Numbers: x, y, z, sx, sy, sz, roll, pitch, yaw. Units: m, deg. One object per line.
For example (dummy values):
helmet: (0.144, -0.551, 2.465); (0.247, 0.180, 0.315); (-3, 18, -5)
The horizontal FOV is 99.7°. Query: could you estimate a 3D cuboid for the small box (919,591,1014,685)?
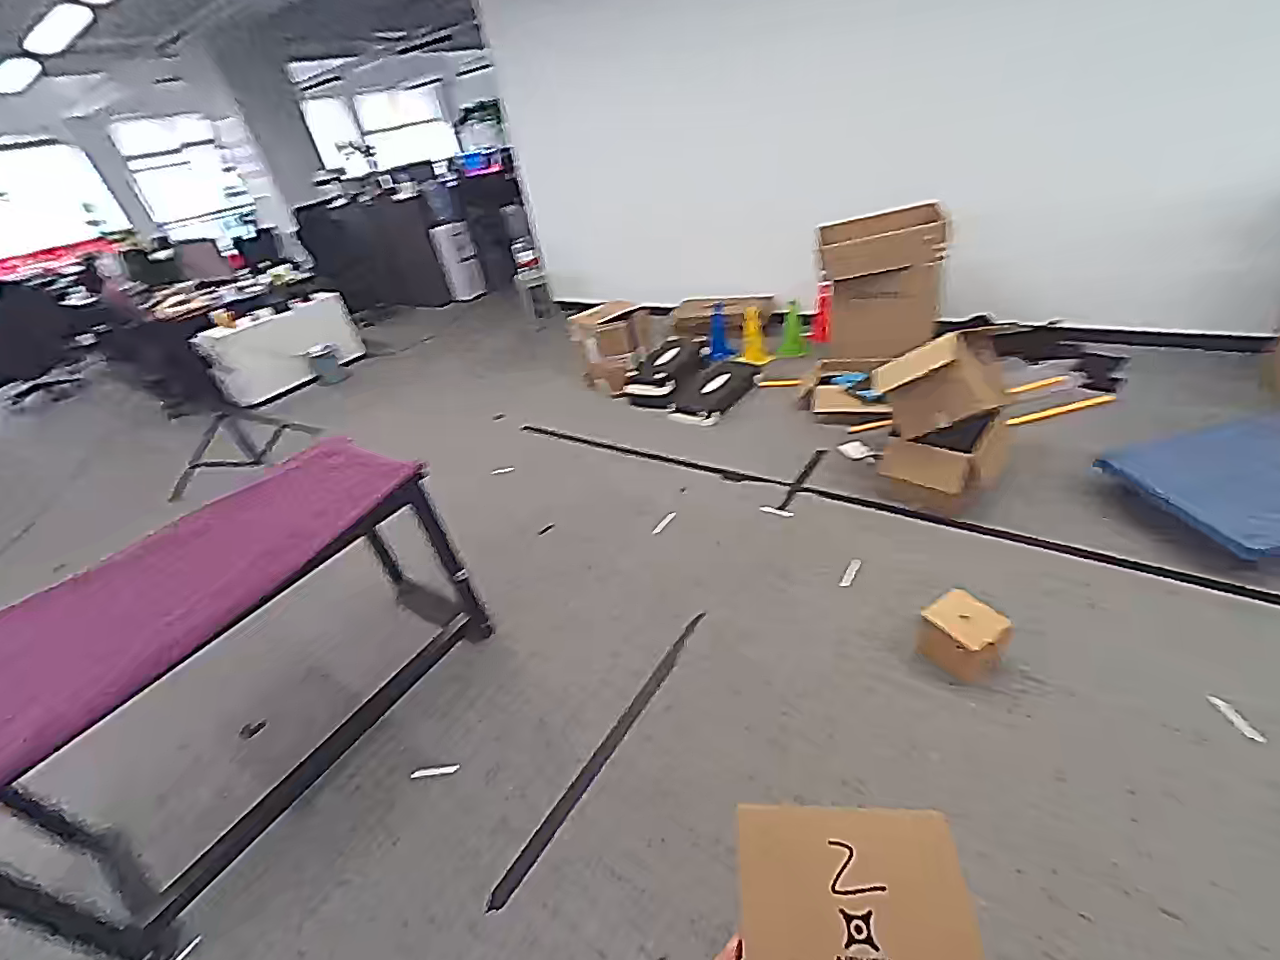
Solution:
small box: (0.975, 0.476, 1.630); (0.168, 0.176, 0.179); (-25, 37, -20)
